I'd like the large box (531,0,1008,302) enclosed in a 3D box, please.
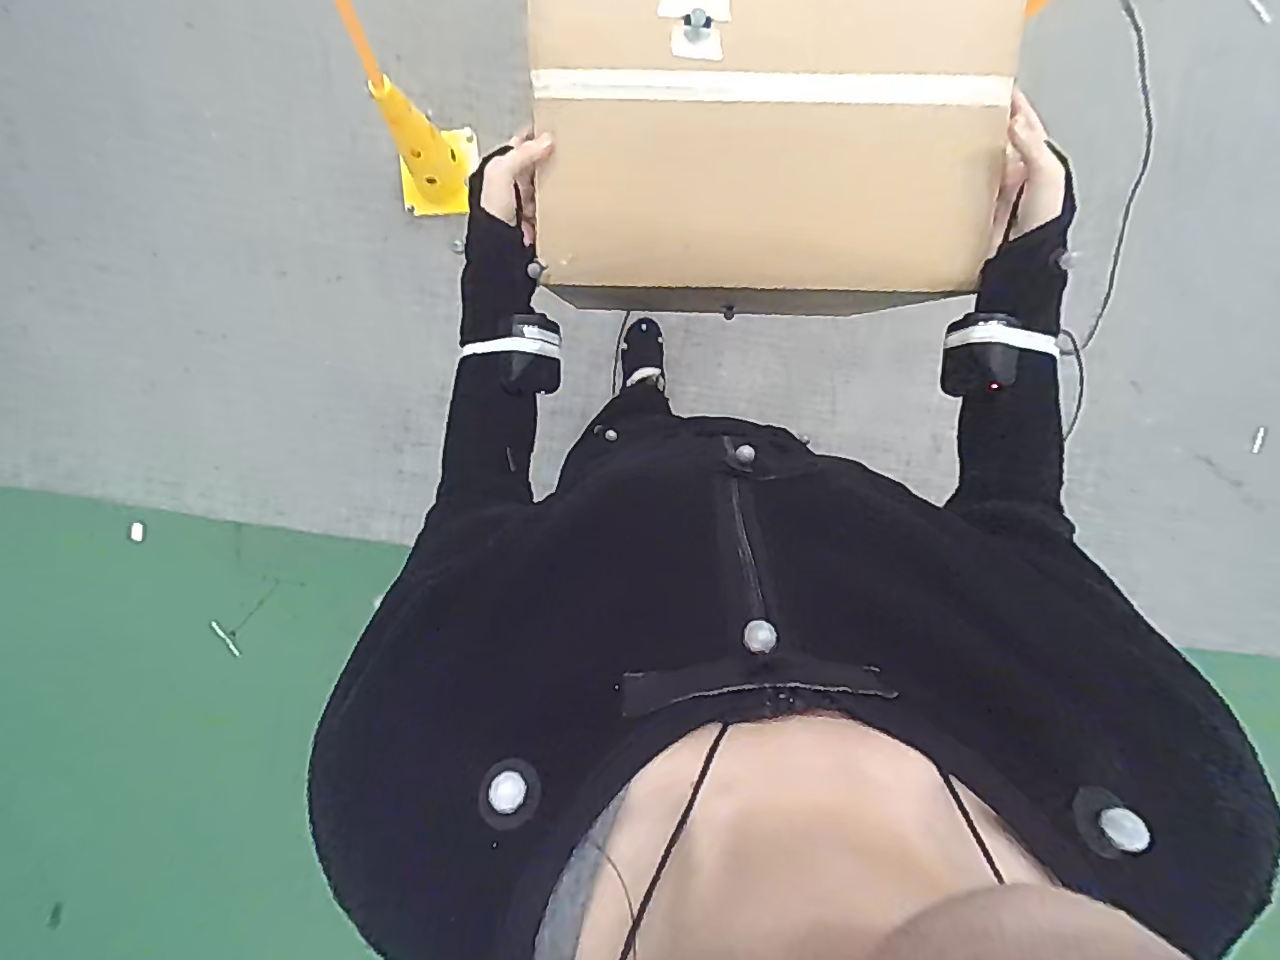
[{"bbox_3d":[0.109,-0.371,0.610,0.408,0.320,0.320,1,103,0],"label":"large box"}]
